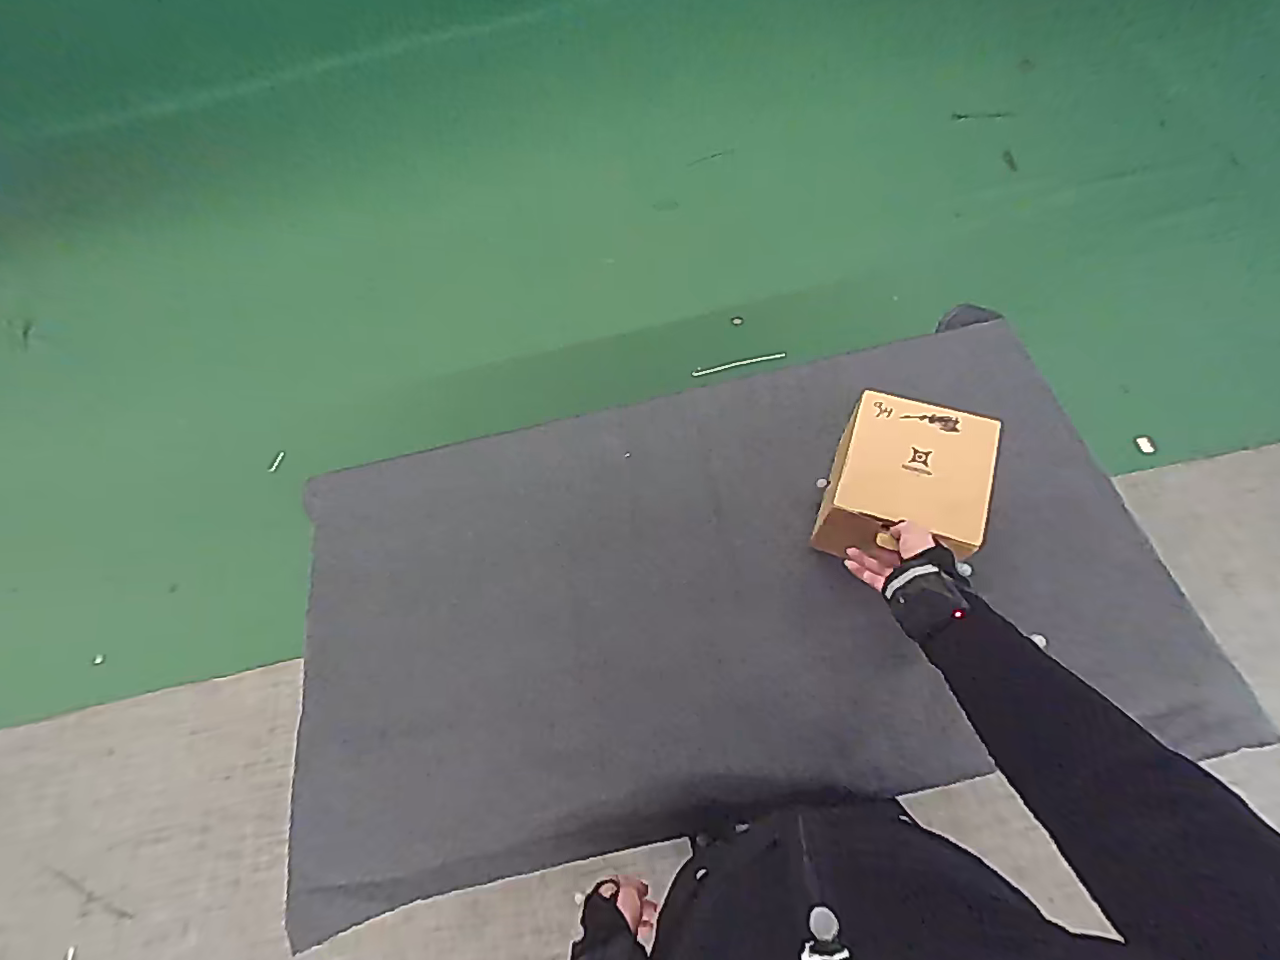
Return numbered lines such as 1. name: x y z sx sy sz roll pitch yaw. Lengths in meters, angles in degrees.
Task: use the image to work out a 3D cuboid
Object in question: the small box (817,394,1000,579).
1. small box: 0.349 0.017 0.733 0.168 0.176 0.179 18 70 14
